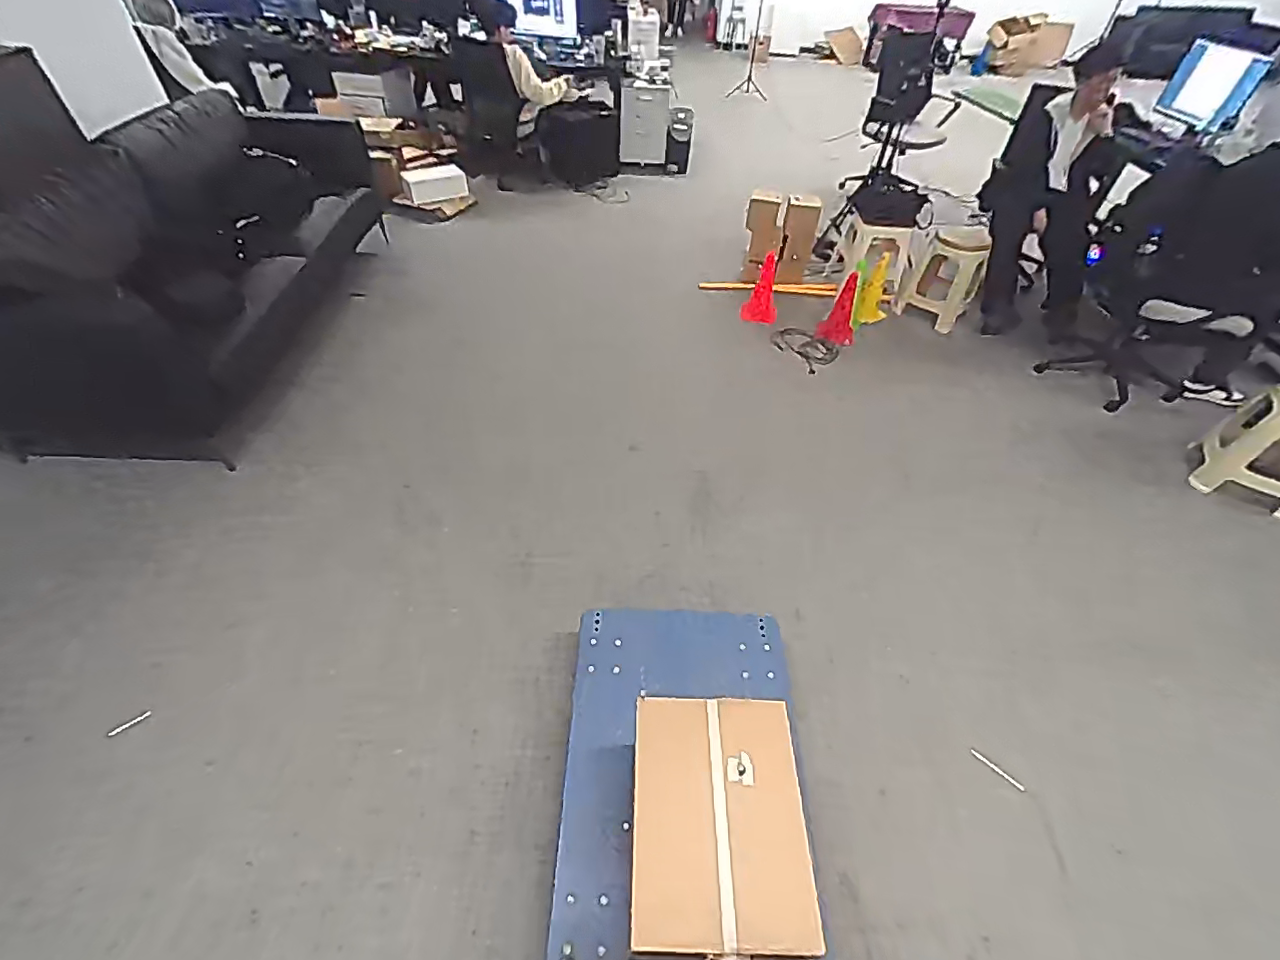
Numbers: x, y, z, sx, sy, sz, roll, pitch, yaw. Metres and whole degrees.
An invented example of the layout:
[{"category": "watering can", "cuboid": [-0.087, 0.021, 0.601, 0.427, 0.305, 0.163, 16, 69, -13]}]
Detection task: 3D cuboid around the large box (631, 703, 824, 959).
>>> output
[{"category": "large box", "cuboid": [0.138, 0.716, 1.097, 0.320, 0.320, 0.408, 2, 45, -2]}]
